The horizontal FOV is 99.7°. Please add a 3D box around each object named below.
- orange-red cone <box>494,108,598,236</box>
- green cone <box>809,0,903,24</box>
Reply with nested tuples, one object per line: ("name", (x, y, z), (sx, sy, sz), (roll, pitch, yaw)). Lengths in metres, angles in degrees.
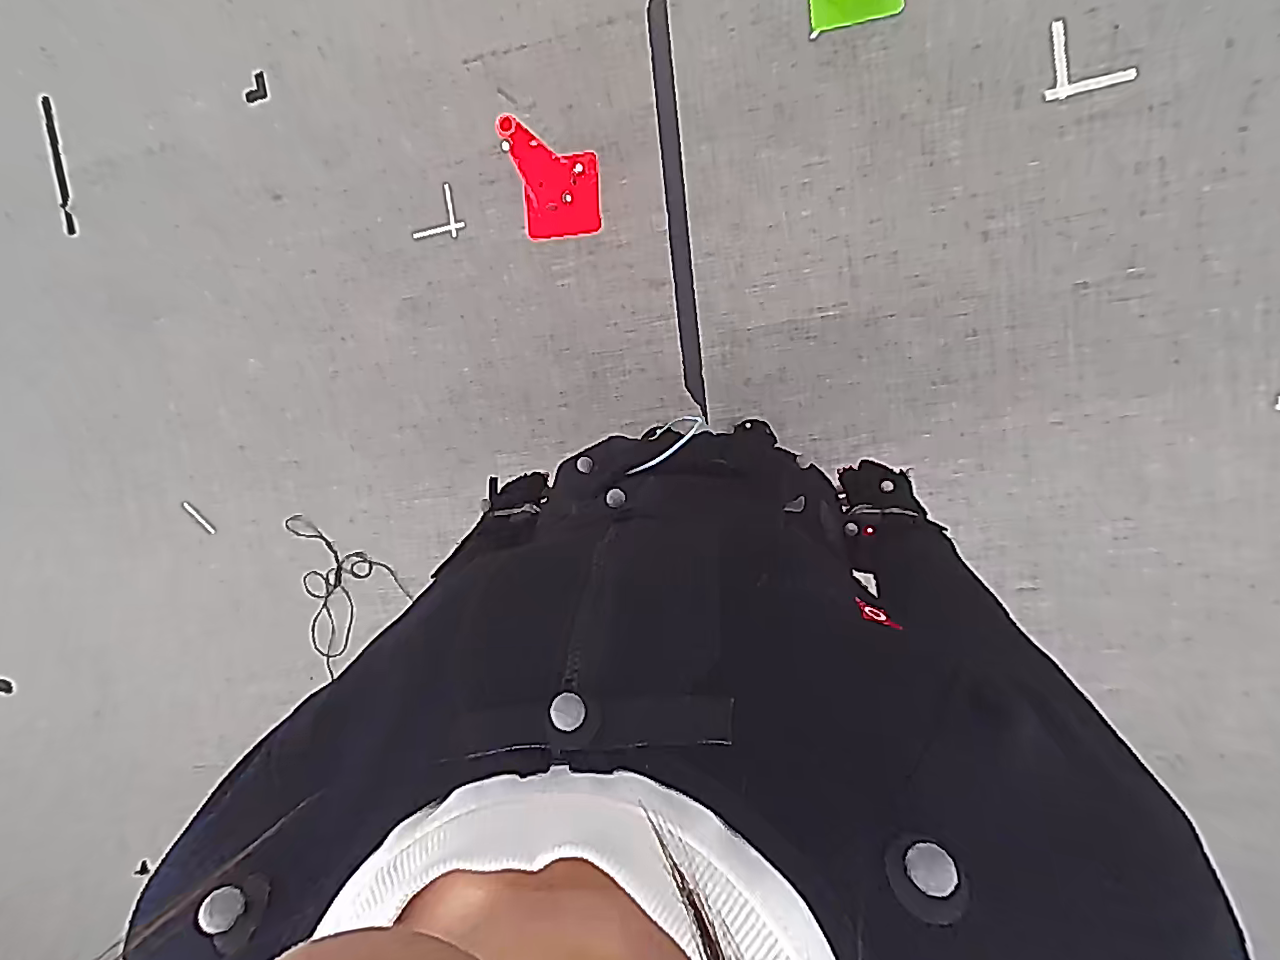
("orange-red cone", (-0.234, -0.714, 1.212), (0.199, 0.360, 0.198), (-1, 95, 11))
("green cone", (0.451, -1.117, 1.037), (0.202, 0.368, 0.200), (-6, 96, 9))
